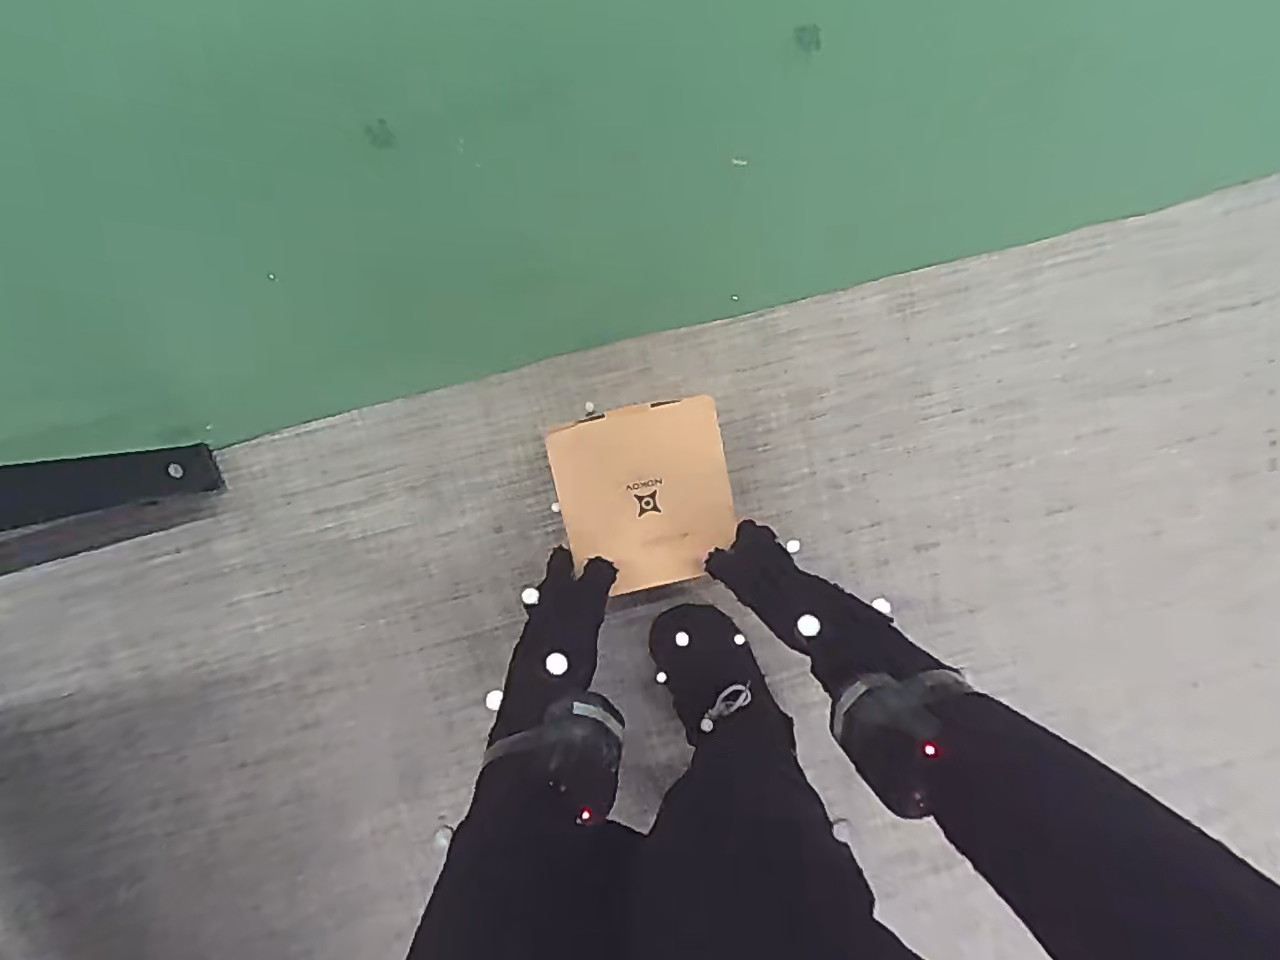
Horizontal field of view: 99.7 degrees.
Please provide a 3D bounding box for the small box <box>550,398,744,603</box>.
[{"bbox_3d":[0.004,0.011,0.599,0.168,0.176,0.179,-12,99,-1],"label":"small box"}]
